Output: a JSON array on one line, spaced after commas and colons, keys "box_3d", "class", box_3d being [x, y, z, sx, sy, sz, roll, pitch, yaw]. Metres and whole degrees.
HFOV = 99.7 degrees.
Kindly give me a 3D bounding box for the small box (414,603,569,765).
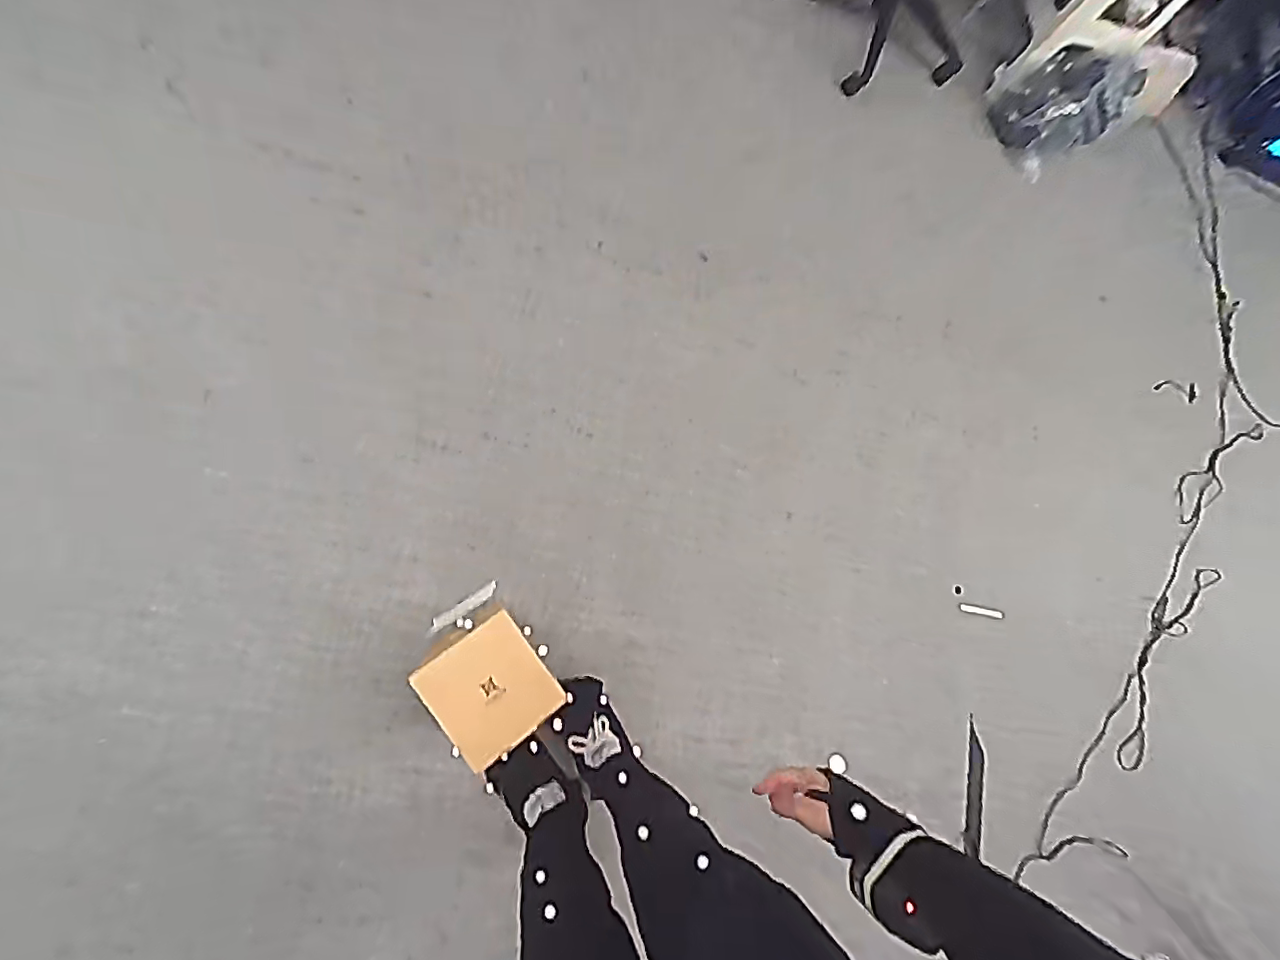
[{"box_3d": [-0.244, 0.320, 0.889, 0.168, 0.176, 0.179, -36, 93, -19], "class": "small box"}]
